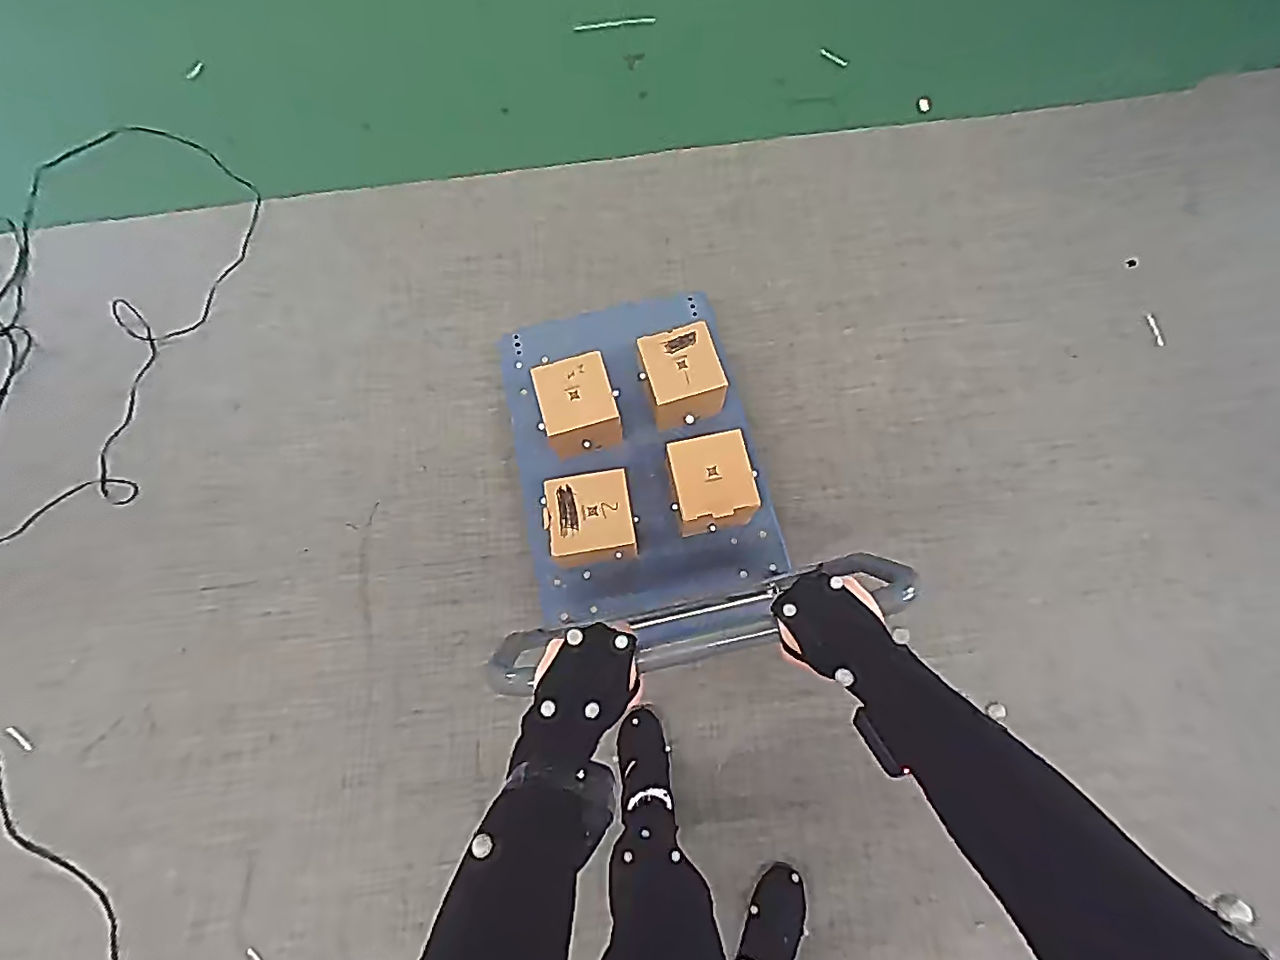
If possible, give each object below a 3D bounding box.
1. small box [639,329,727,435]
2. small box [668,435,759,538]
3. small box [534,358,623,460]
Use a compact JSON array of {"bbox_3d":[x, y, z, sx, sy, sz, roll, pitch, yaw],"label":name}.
[{"bbox_3d":[0.099,-0.233,1.316,0.168,0.176,0.179,-16,74,-2],"label":"small box"},{"bbox_3d":[0.159,0.019,1.236,0.168,0.176,0.179,-12,73,-1],"label":"small box"},{"bbox_3d":[-0.142,-0.161,1.304,0.168,0.176,0.179,-16,73,-3],"label":"small box"}]
